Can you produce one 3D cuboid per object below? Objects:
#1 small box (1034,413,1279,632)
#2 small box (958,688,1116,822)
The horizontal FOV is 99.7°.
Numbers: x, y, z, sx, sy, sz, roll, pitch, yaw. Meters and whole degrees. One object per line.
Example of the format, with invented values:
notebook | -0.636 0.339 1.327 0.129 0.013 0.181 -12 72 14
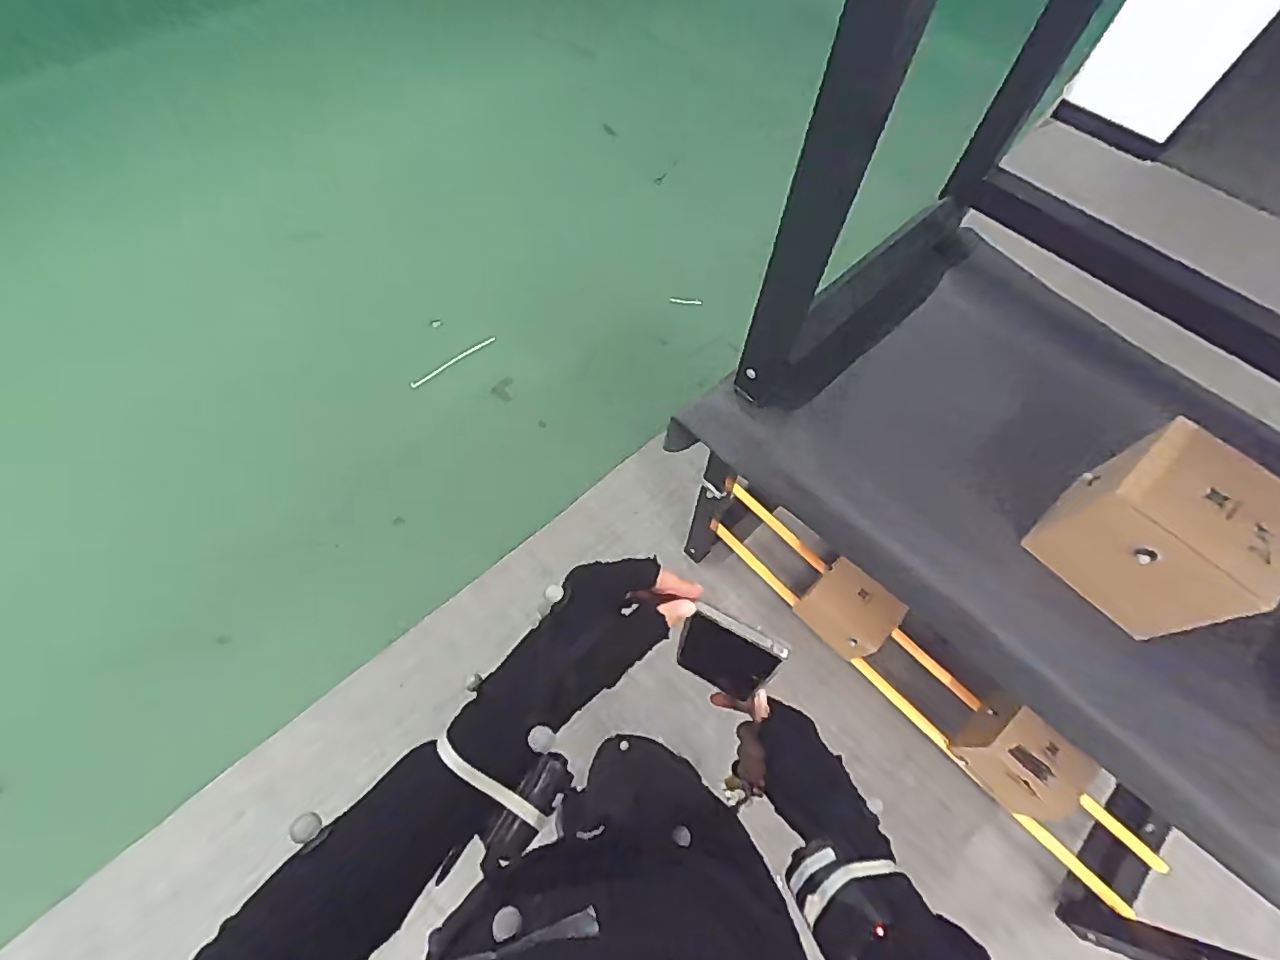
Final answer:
small box | 0.644 0.059 0.661 0.168 0.176 0.179 -37 69 -18
small box | 0.795 0.559 1.108 0.179 0.176 0.168 -36 69 -17
